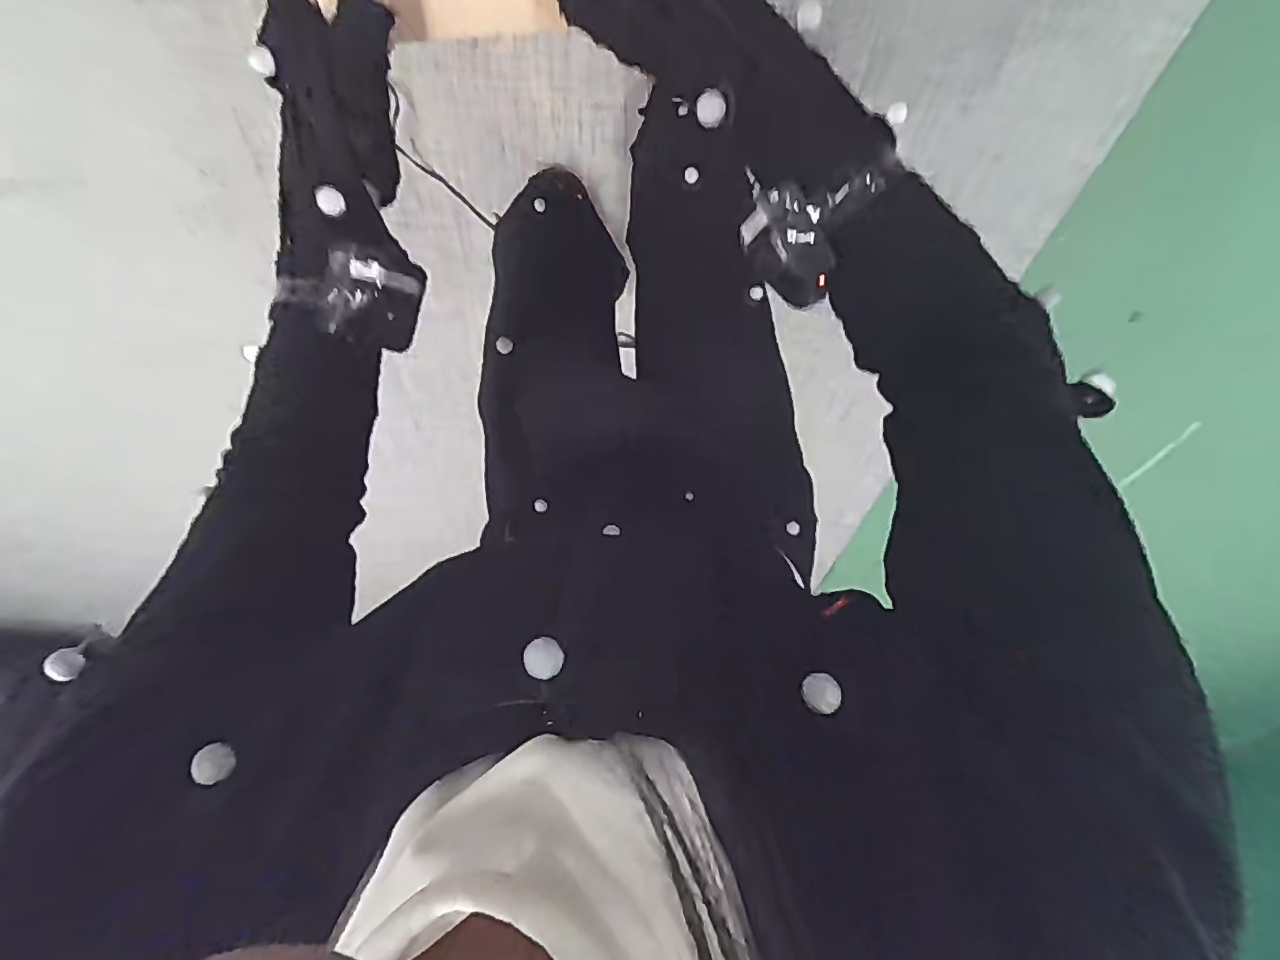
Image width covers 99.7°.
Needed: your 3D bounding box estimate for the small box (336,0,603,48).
[{"bbox_3d":[-0.122,-0.402,0.349,0.168,0.176,0.179,-9,135,-5],"label":"small box"}]
